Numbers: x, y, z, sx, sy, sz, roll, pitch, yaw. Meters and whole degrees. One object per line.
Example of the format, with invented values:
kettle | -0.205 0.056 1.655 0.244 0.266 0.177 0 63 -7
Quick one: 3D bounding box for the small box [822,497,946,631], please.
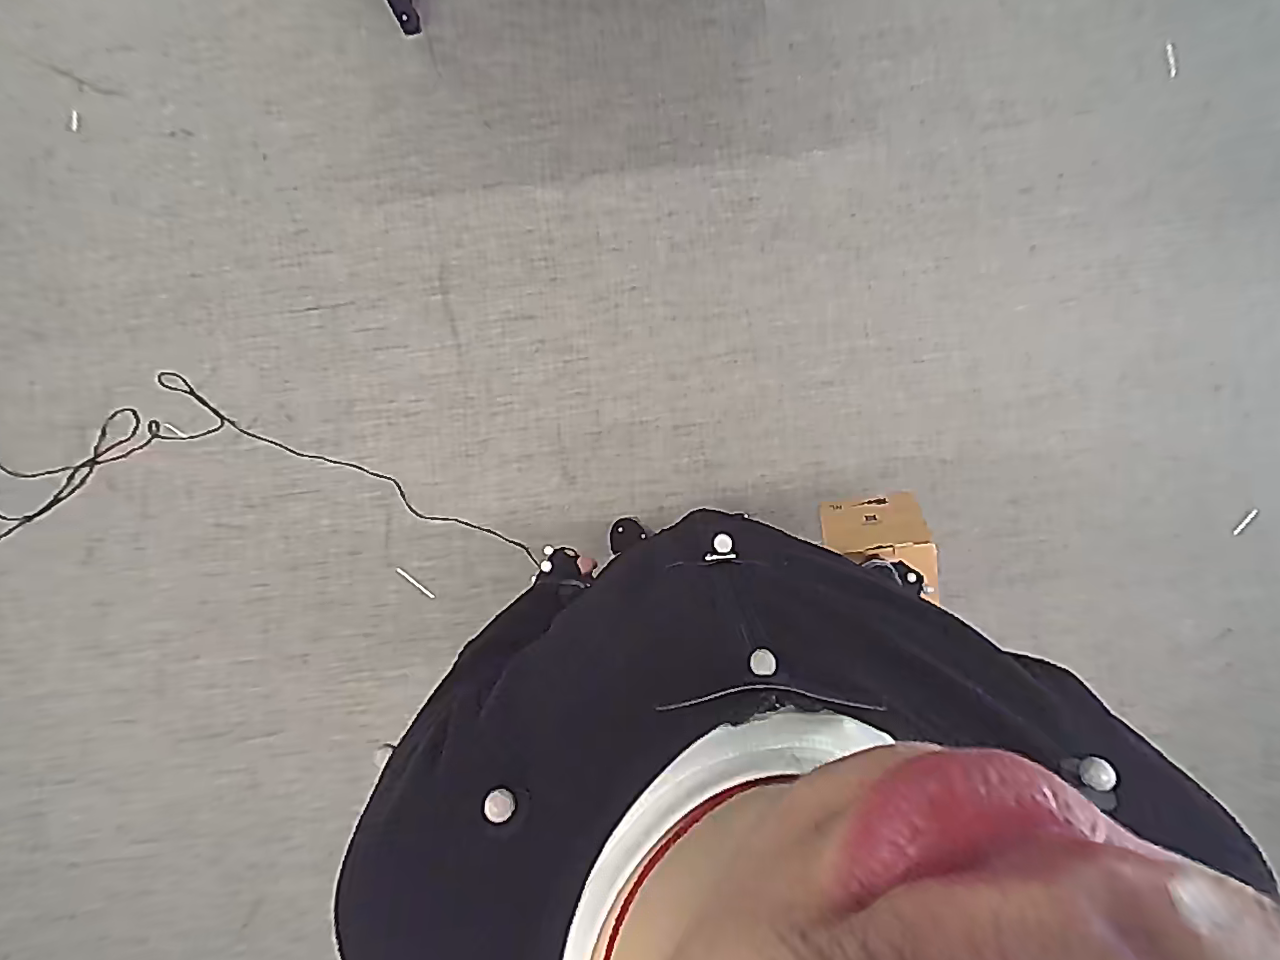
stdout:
small box | 0.431 0.154 0.968 0.168 0.179 0.176 -11 111 17
